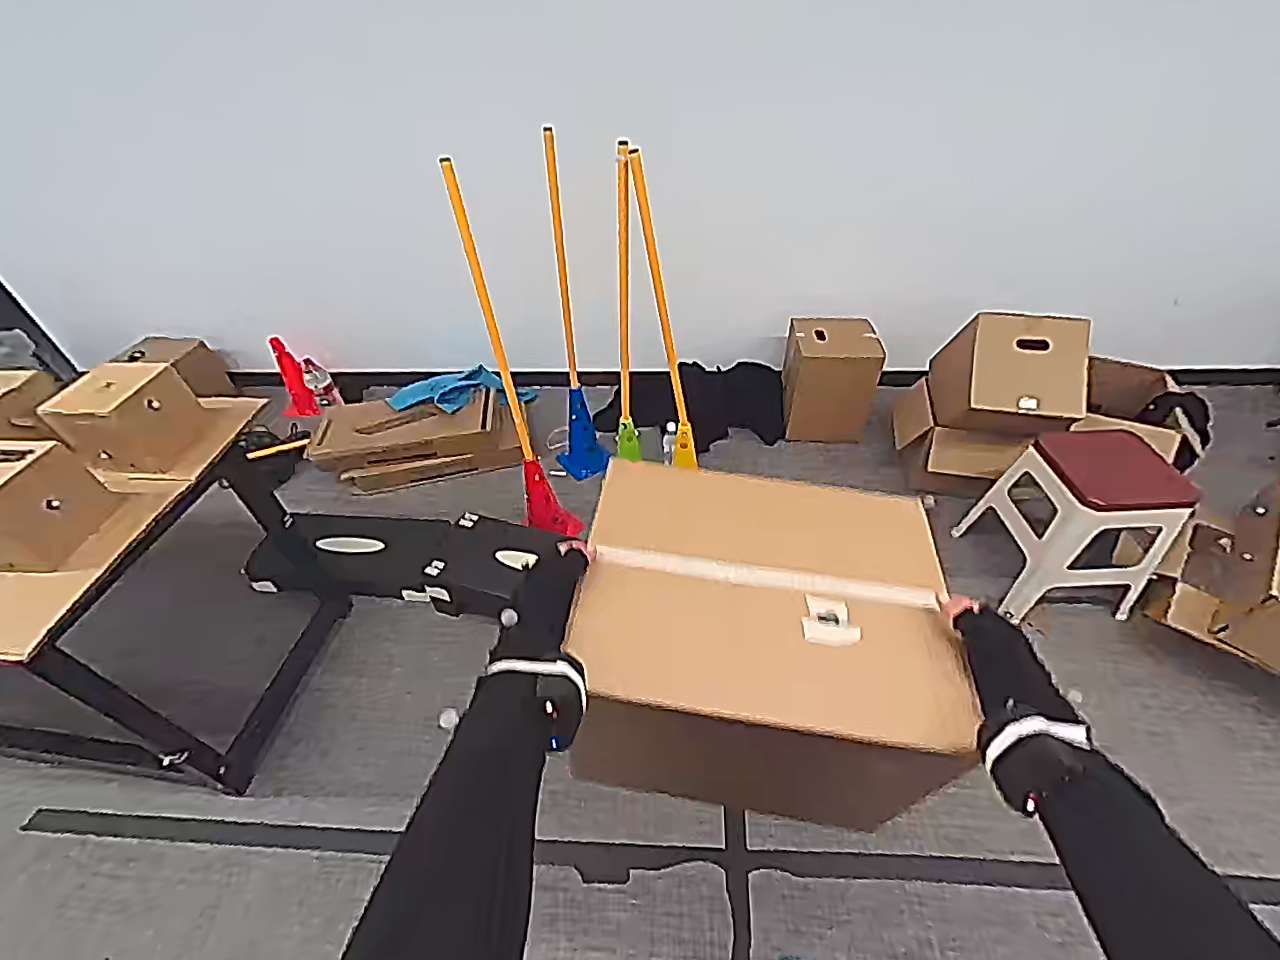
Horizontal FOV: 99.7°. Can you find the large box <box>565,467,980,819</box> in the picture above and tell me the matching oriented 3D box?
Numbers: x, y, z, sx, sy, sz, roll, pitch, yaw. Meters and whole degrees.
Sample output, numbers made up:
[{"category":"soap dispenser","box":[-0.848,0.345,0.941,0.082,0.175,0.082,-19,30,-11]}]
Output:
[{"category":"large box","box":[0.133,0.216,0.721,0.408,0.320,0.320,8,47,4]}]
